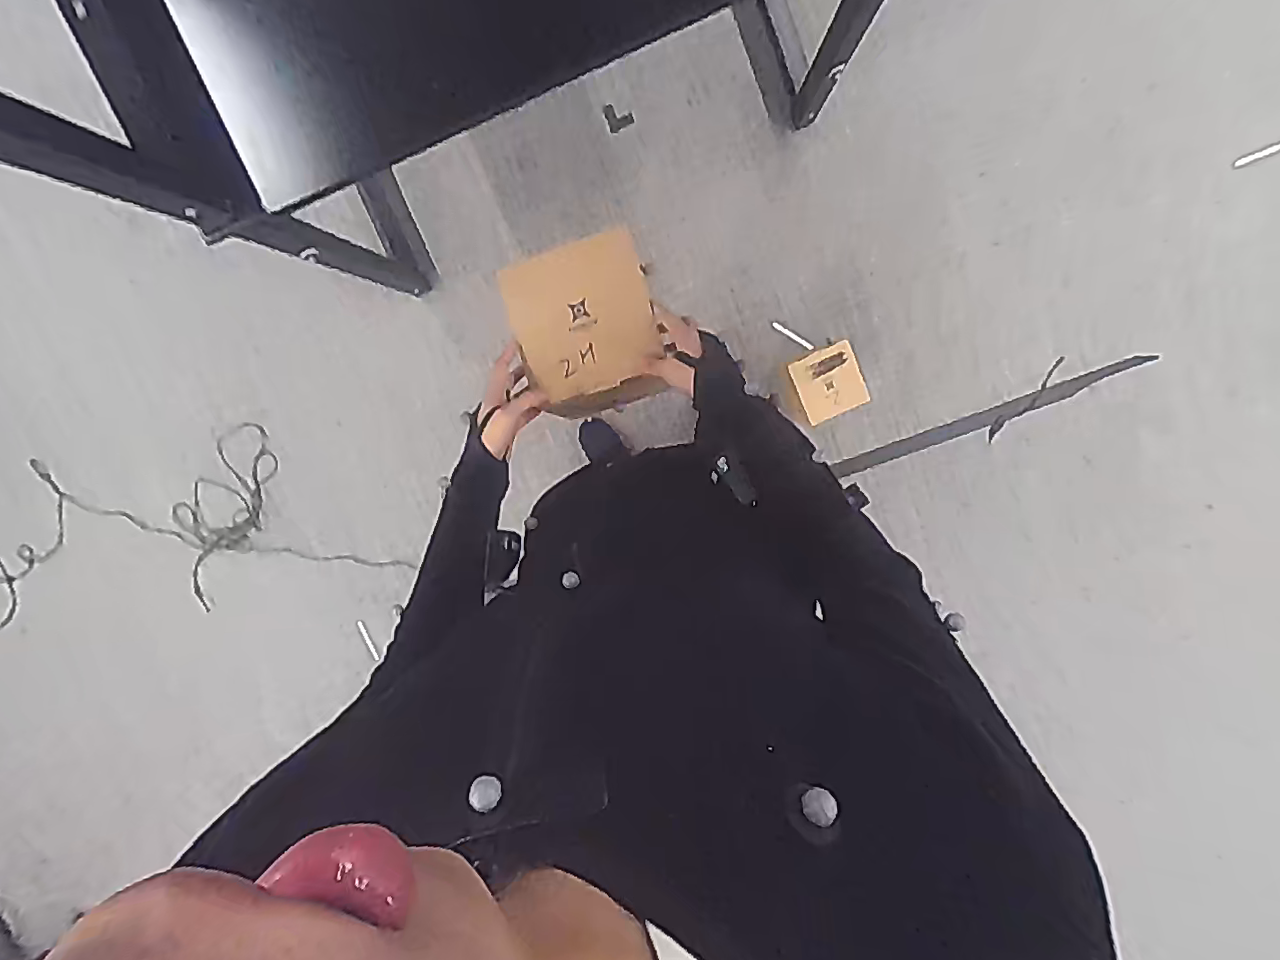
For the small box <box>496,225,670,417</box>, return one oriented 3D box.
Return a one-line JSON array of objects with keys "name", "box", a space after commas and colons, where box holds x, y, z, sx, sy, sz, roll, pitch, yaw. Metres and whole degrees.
[{"name": "small box", "box": [-0.063, -0.192, 0.706, 0.168, 0.176, 0.179, -16, 90, 7]}]
